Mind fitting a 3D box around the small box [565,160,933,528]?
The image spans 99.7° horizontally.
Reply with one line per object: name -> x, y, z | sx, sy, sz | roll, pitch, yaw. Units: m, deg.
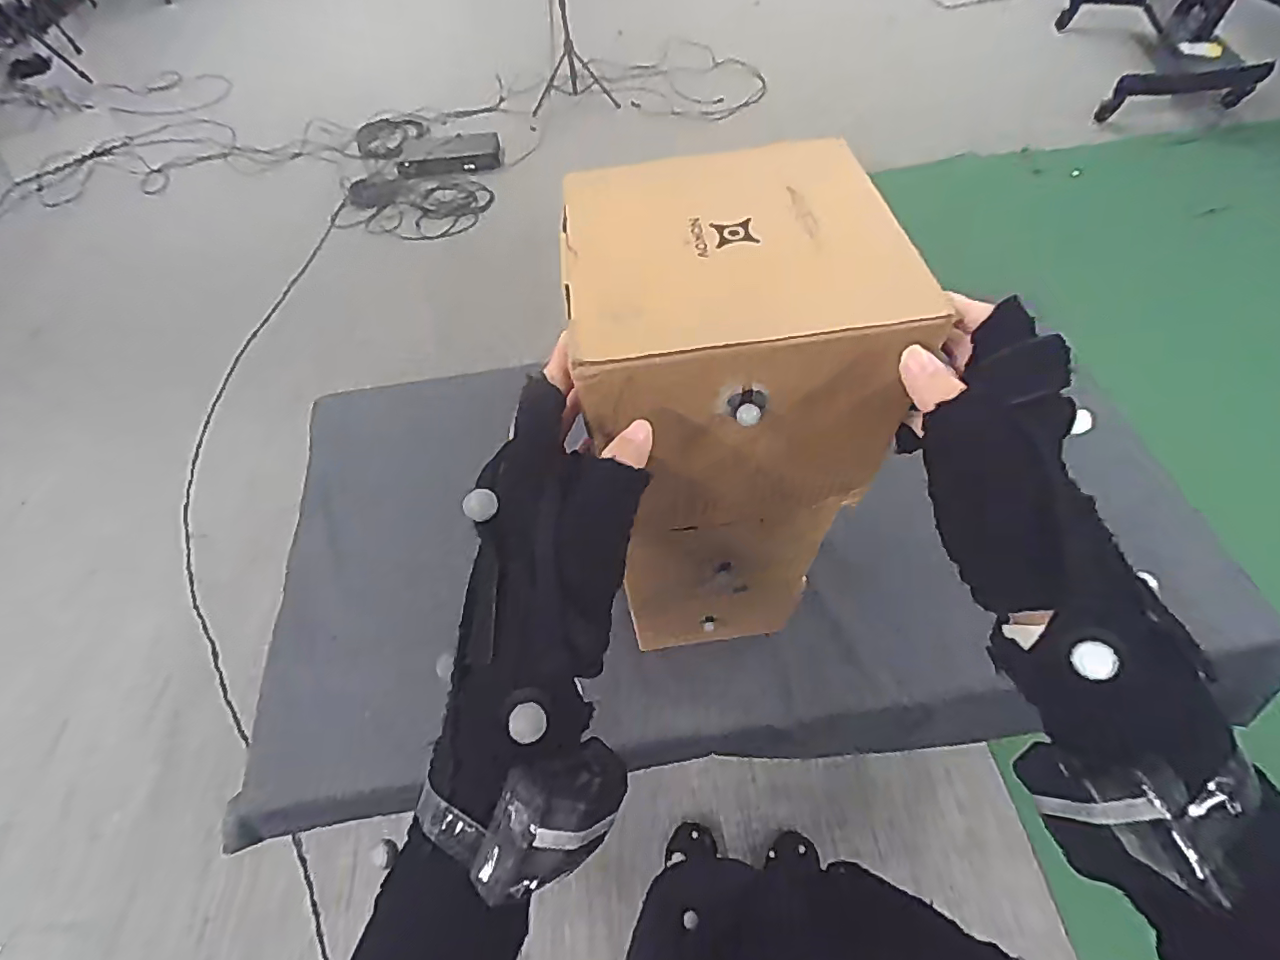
small box -> 0.052, -0.081, 0.366 | 0.179, 0.176, 0.168 | -8, 57, -1

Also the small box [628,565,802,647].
small box -> 0.073, 0.088, 0.647 | 0.179, 0.176, 0.168 | -9, 58, 0

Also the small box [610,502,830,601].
small box -> 0.057, 0.003, 0.508 | 0.168, 0.176, 0.179 | -10, 58, -1
